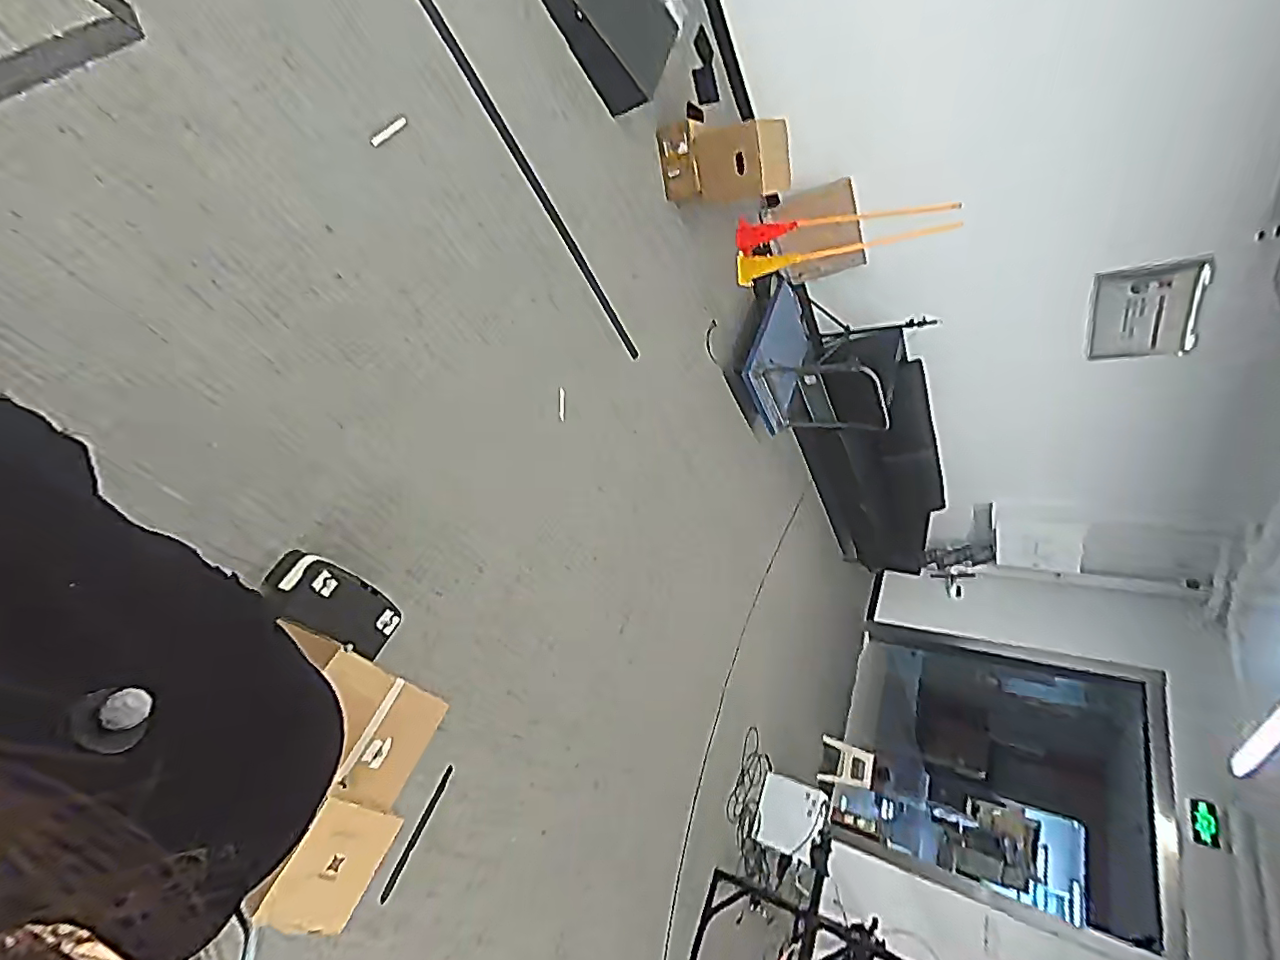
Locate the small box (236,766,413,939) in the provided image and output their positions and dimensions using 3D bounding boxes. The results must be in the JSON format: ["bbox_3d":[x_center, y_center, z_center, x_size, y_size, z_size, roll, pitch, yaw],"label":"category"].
[{"bbox_3d":[-0.533,0.617,0.909,0.168,0.176,0.179,54,50,-39],"label":"small box"}]

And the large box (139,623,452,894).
[{"bbox_3d":[-0.685,0.563,1.114,0.320,0.320,0.408,54,49,-40],"label":"large box"}]
